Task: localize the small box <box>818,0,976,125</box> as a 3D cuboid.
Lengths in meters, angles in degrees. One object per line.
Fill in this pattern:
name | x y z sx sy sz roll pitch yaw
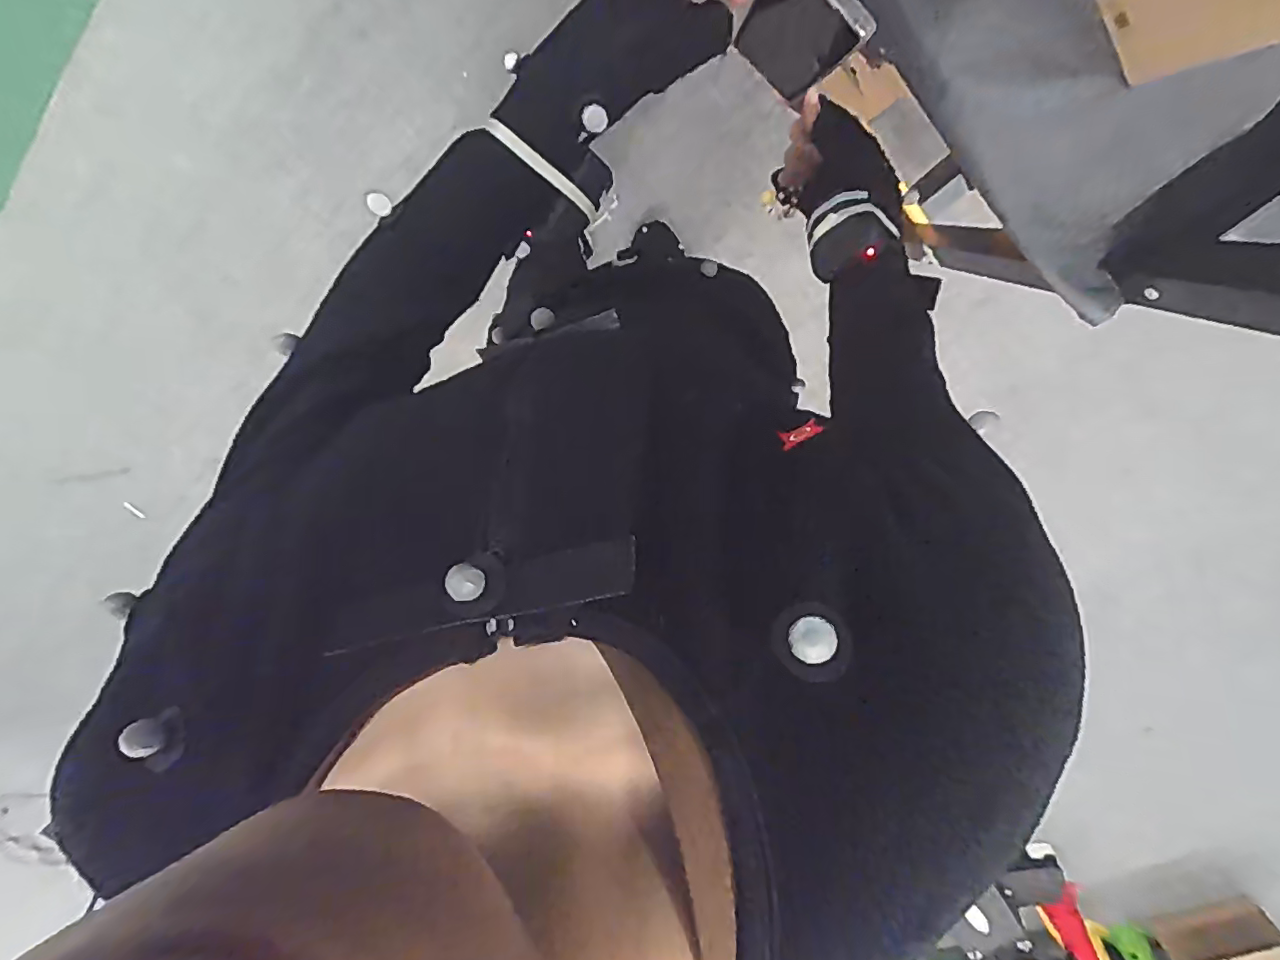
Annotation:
small box | 0.429 -0.758 0.940 0.179 0.176 0.168 -35 110 19
